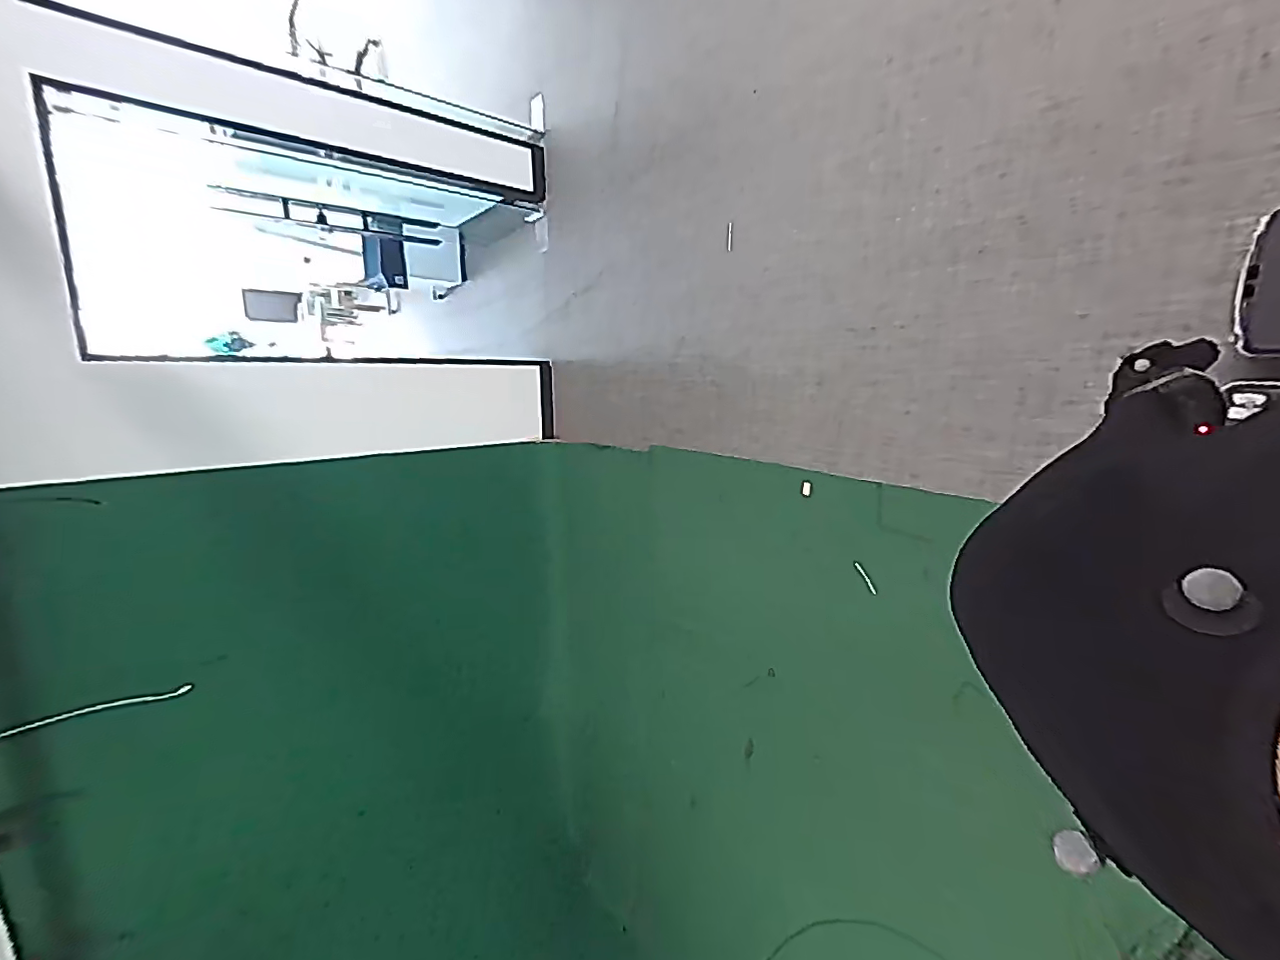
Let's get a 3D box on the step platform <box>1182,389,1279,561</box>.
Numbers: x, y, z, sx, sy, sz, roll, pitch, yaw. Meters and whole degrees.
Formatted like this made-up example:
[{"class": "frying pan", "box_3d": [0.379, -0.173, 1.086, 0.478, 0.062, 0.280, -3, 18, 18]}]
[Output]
[{"class": "step platform", "box_3d": [1.242, 0.023, 0.746, 0.684, 0.204, 0.286, 12, 106, 48]}]
